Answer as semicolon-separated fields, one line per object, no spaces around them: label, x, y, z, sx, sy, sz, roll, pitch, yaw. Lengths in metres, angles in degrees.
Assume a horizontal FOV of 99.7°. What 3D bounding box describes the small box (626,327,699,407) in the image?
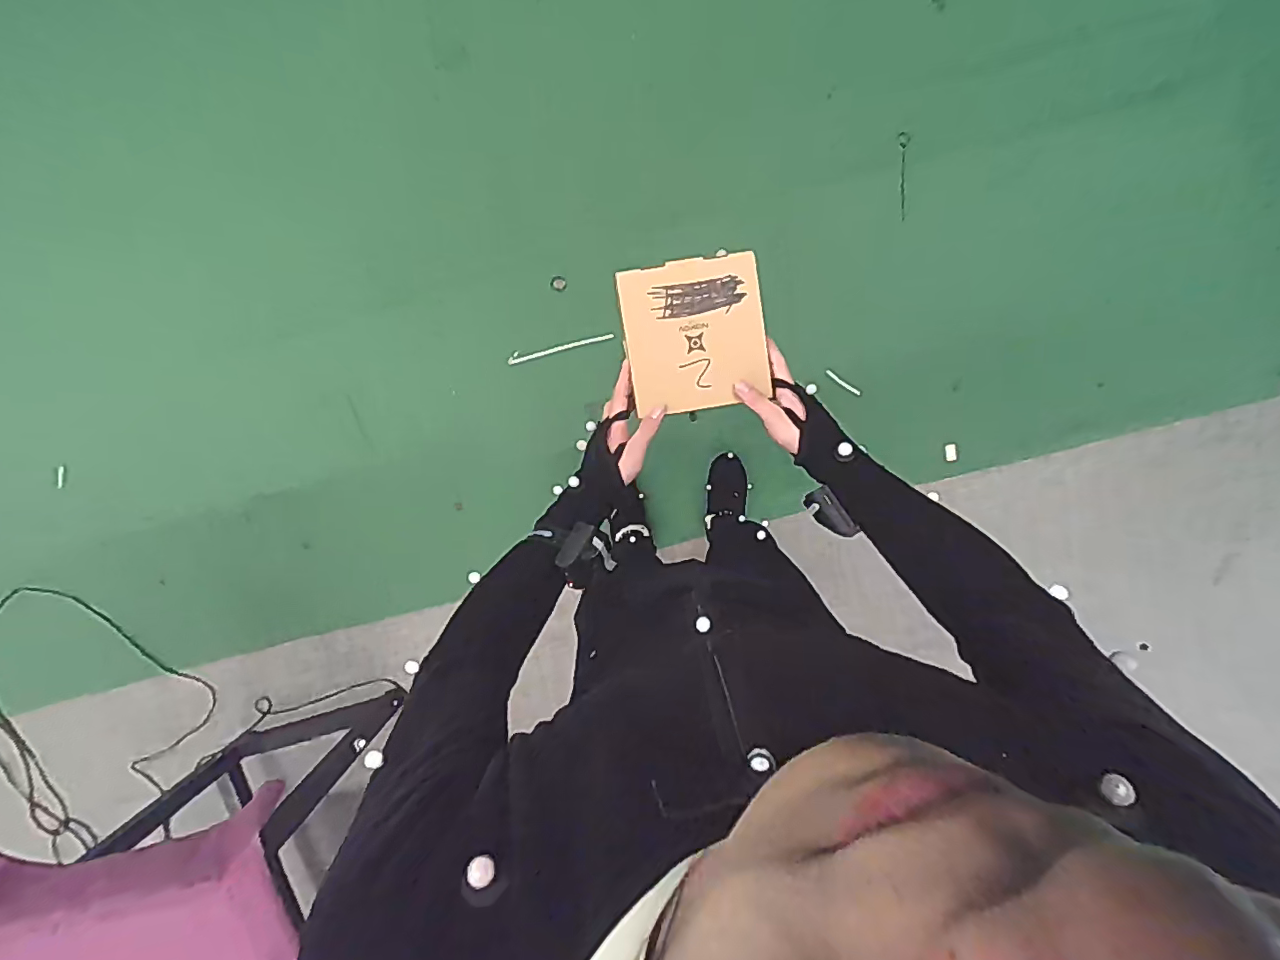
small box;0.060;-0.301;1.479;0.168;0.176;0.179;-13;96;4
